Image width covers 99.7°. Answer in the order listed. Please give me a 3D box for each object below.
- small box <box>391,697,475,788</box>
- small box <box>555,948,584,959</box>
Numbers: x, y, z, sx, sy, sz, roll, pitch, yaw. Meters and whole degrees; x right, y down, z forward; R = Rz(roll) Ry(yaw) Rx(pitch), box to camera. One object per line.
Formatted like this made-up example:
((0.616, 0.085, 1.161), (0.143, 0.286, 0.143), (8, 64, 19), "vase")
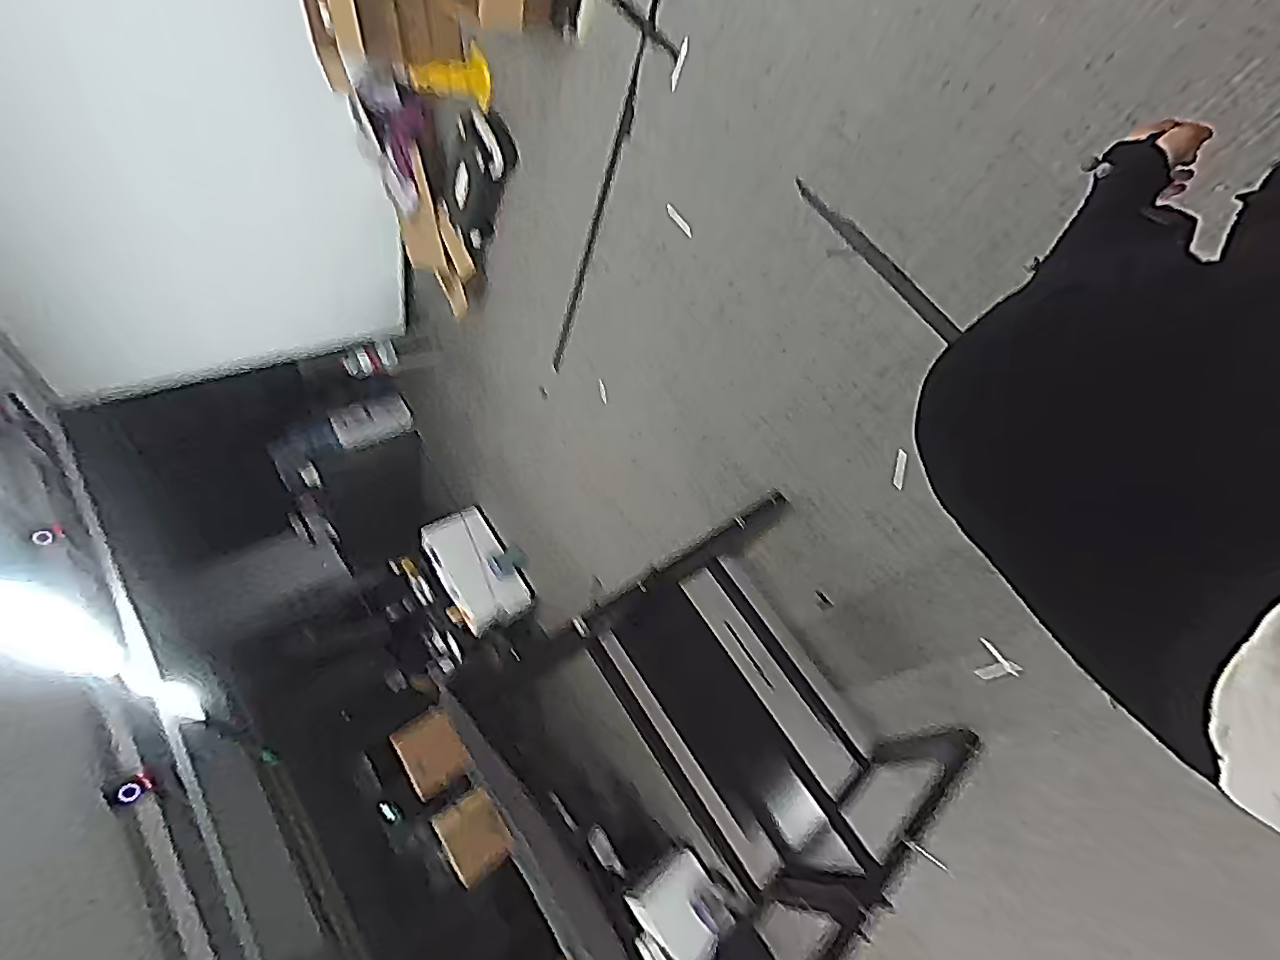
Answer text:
((-0.590, 0.749, 1.547), (0.168, 0.176, 0.179), (54, 147, 13), "small box")
((-0.211, 1.478, 1.527), (0.168, 0.176, 0.179), (53, 145, 16), "small box")
